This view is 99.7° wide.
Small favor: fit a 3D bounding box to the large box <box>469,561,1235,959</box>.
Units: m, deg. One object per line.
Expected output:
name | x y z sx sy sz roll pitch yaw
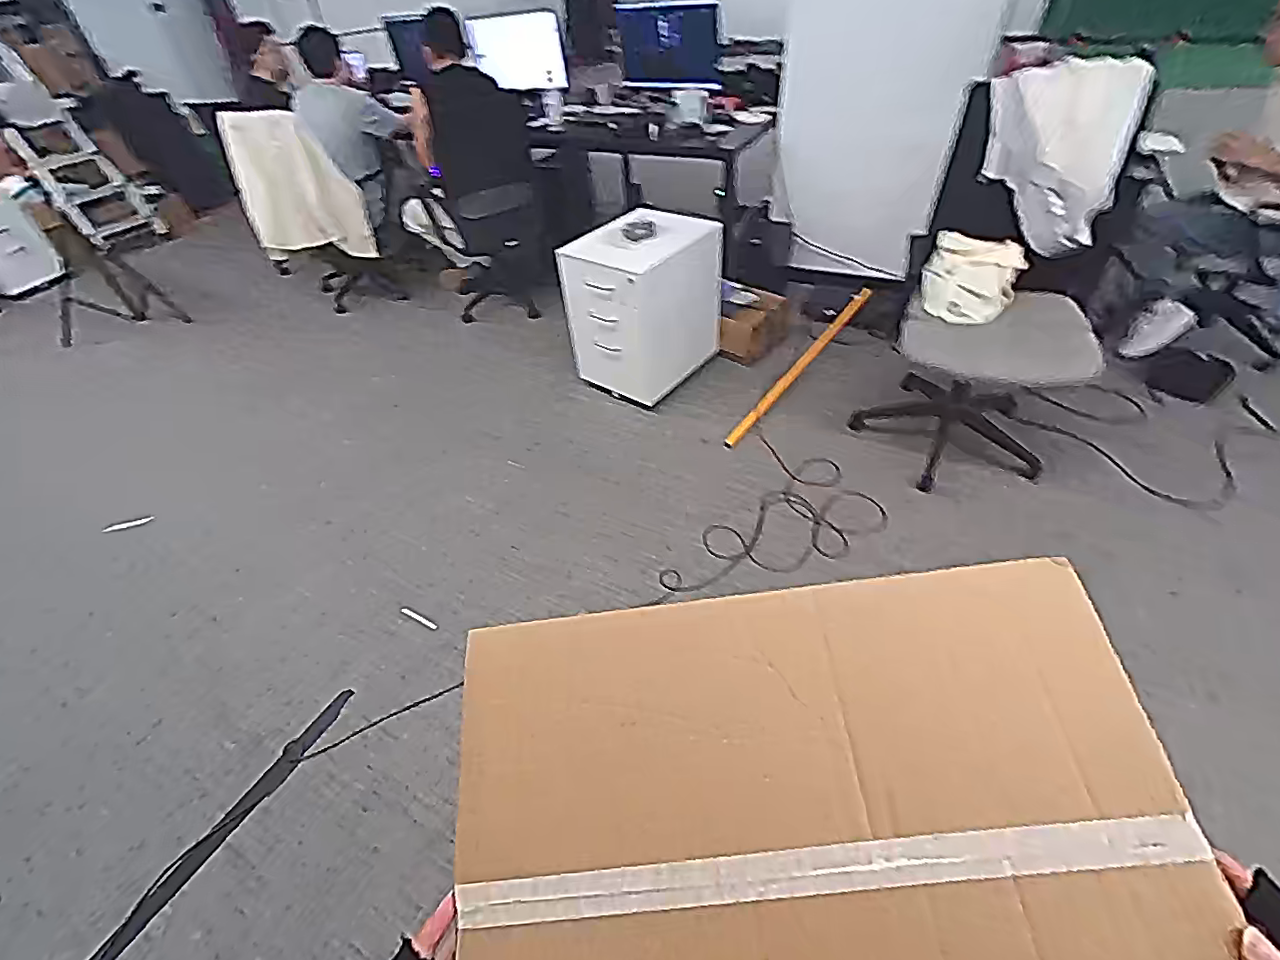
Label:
large box | 0.113 0.287 0.439 0.408 0.320 0.320 -8 64 4
